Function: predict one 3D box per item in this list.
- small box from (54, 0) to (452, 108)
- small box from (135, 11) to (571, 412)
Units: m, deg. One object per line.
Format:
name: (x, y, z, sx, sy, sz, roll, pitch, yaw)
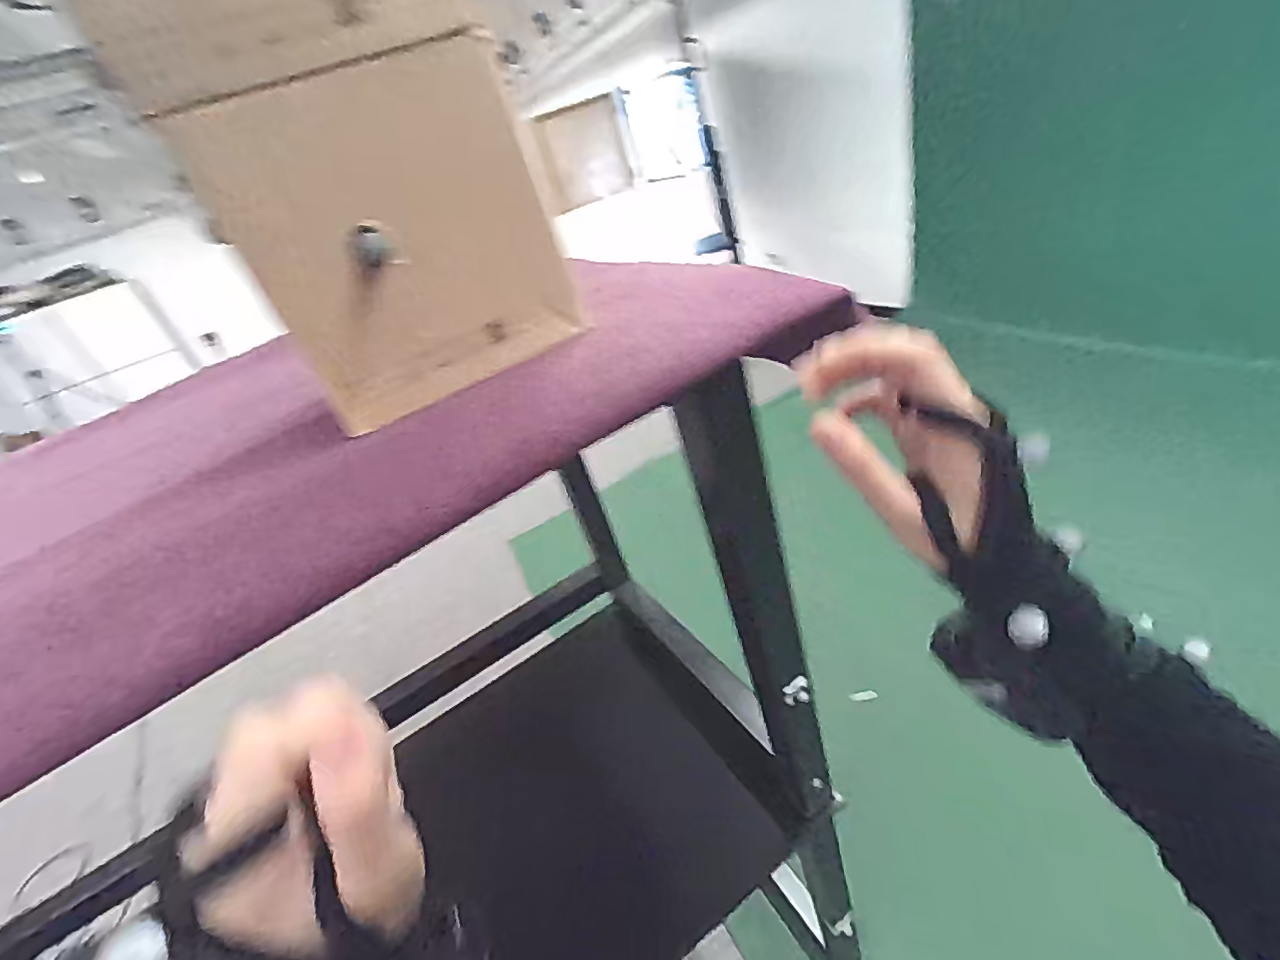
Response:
small box: (-0.219, -0.295, 0.279, 0.168, 0.176, 0.179, -30, 34, -16)
small box: (-0.169, -0.165, 0.366, 0.168, 0.176, 0.179, -31, 33, -16)
